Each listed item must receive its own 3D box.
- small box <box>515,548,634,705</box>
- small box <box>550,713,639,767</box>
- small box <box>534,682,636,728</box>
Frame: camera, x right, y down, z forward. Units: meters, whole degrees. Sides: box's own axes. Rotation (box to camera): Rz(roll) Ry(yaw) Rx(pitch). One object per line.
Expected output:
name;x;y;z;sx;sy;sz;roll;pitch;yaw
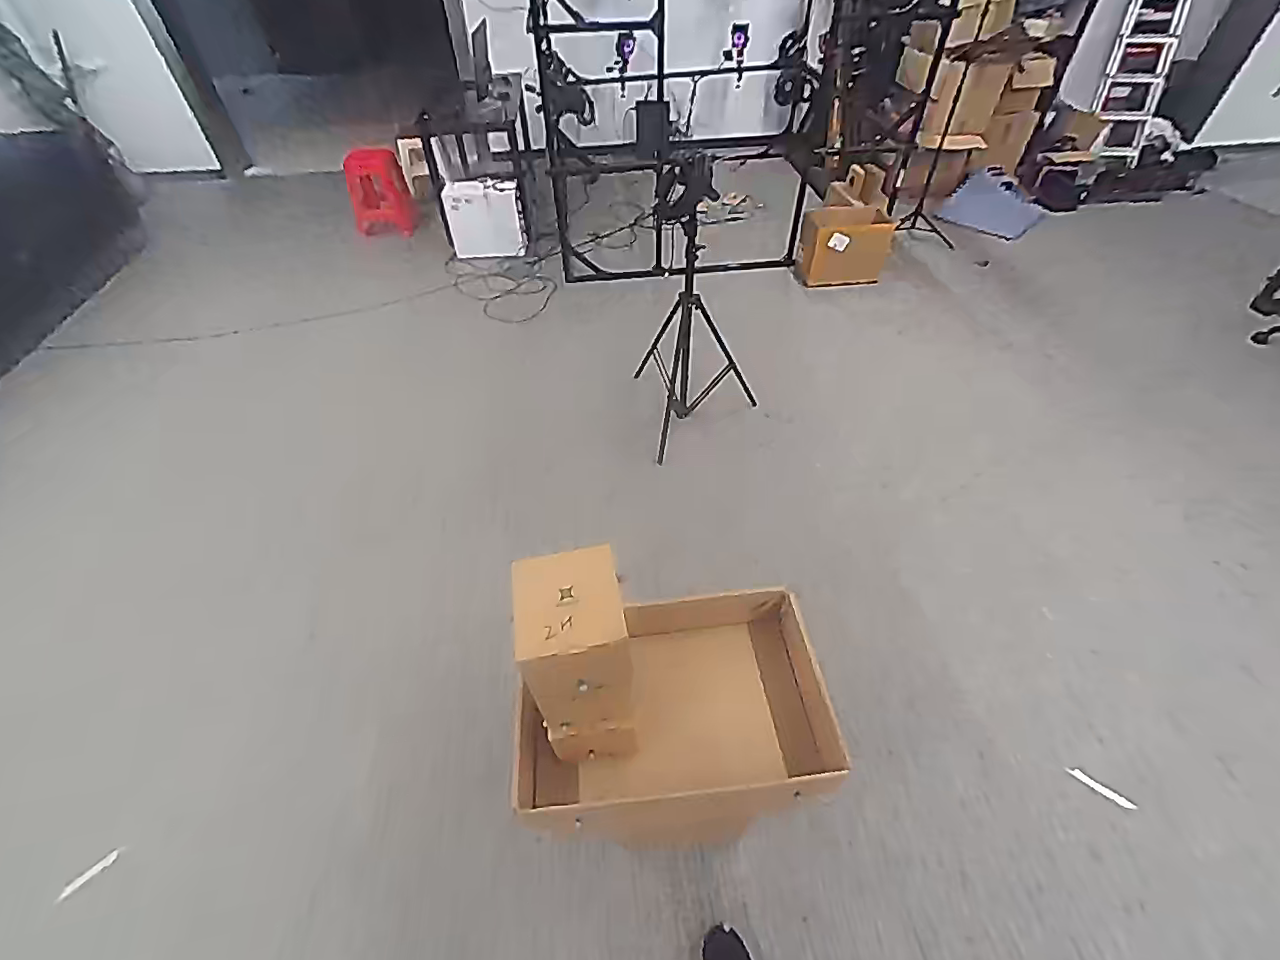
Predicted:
small box;-0.106;0.240;0.886;0.168;0.176;0.179;-10;48;-5
small box;-0.094;0.468;1.121;0.168;0.176;0.179;-7;47;-3
small box;-0.100;0.347;1.011;0.168;0.176;0.179;-7;47;-3
